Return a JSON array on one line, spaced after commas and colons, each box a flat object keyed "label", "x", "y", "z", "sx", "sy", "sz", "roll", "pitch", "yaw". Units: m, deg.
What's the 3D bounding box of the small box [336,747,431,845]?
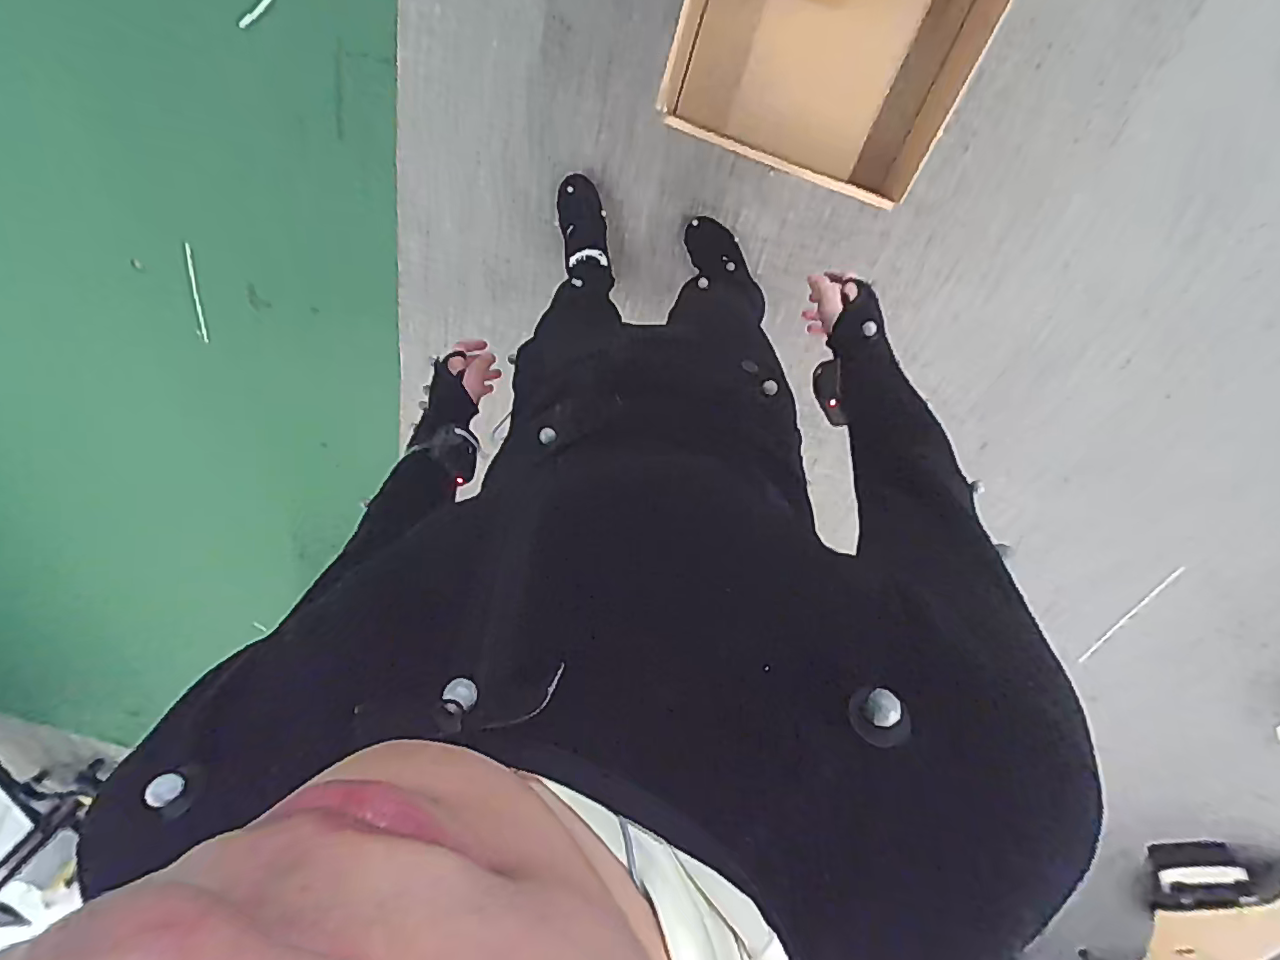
[{"label": "small box", "x": -0.731, "y": 0.899, "z": 1.548, "sx": 0.179, "sy": 0.176, "sz": 0.168, "roll": 24, "pitch": 124, "yaw": -6}]
